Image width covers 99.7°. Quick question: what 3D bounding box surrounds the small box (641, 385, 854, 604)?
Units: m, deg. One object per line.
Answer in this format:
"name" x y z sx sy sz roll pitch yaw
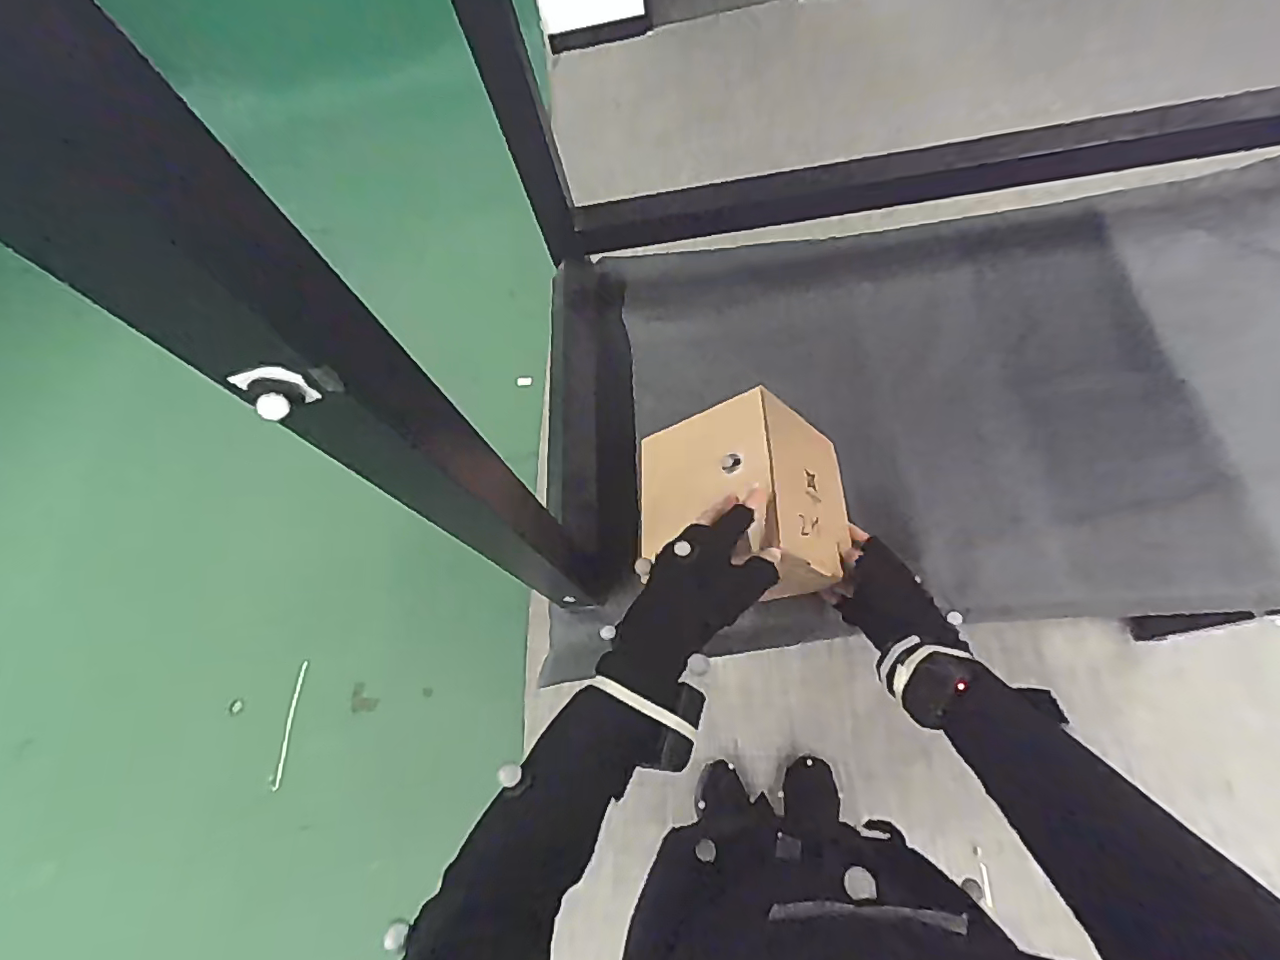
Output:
"small box" 0.114 0.029 0.610 0.176 0.168 0.179 -22 57 38
